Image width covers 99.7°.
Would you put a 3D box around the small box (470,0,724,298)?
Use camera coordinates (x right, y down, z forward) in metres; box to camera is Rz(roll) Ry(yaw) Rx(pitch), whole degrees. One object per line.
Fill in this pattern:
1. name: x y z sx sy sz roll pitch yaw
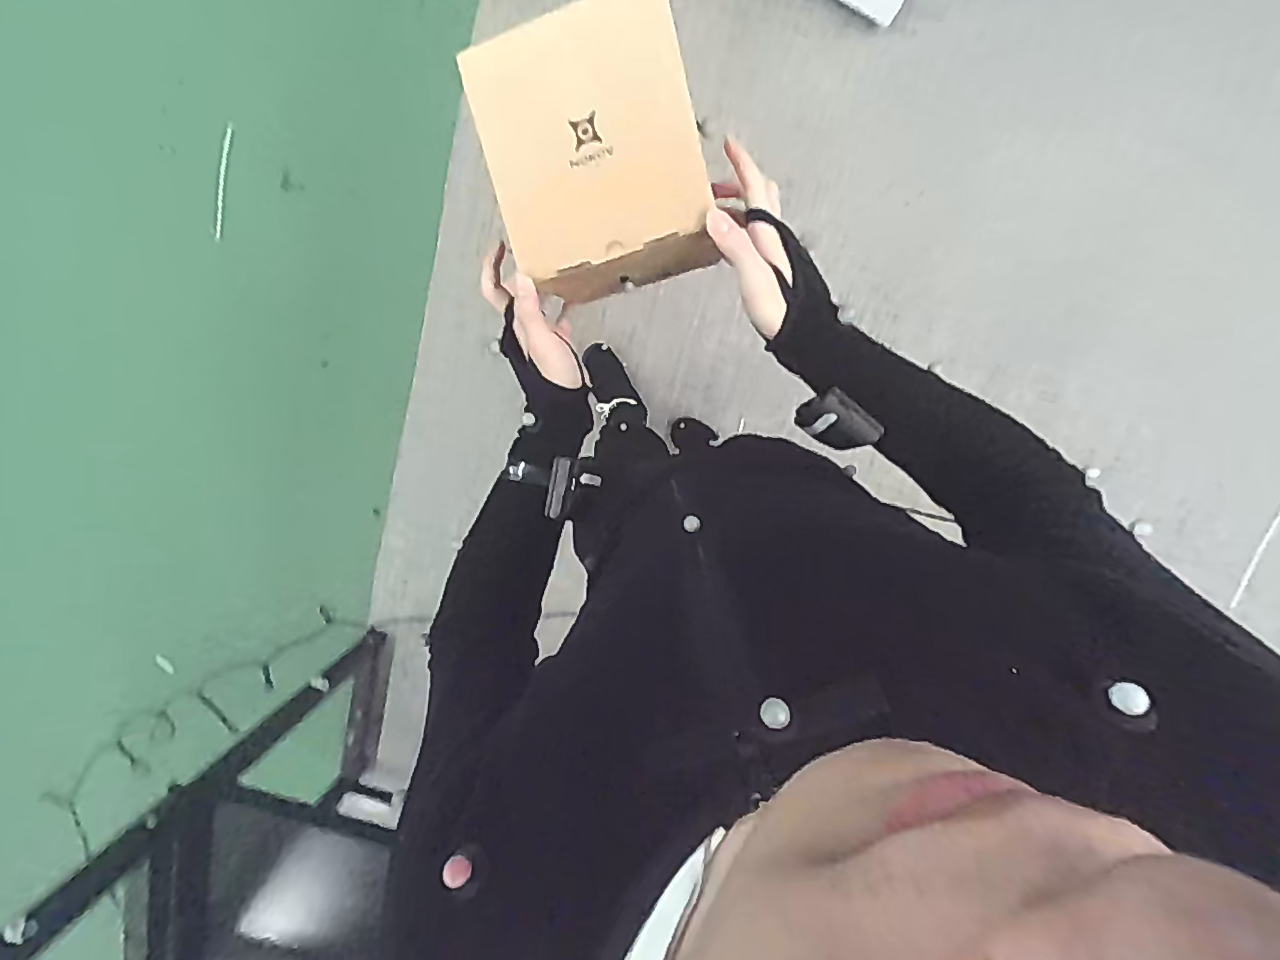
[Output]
1. small box: -0.022 -0.280 0.491 0.168 0.176 0.179 -12 101 12
